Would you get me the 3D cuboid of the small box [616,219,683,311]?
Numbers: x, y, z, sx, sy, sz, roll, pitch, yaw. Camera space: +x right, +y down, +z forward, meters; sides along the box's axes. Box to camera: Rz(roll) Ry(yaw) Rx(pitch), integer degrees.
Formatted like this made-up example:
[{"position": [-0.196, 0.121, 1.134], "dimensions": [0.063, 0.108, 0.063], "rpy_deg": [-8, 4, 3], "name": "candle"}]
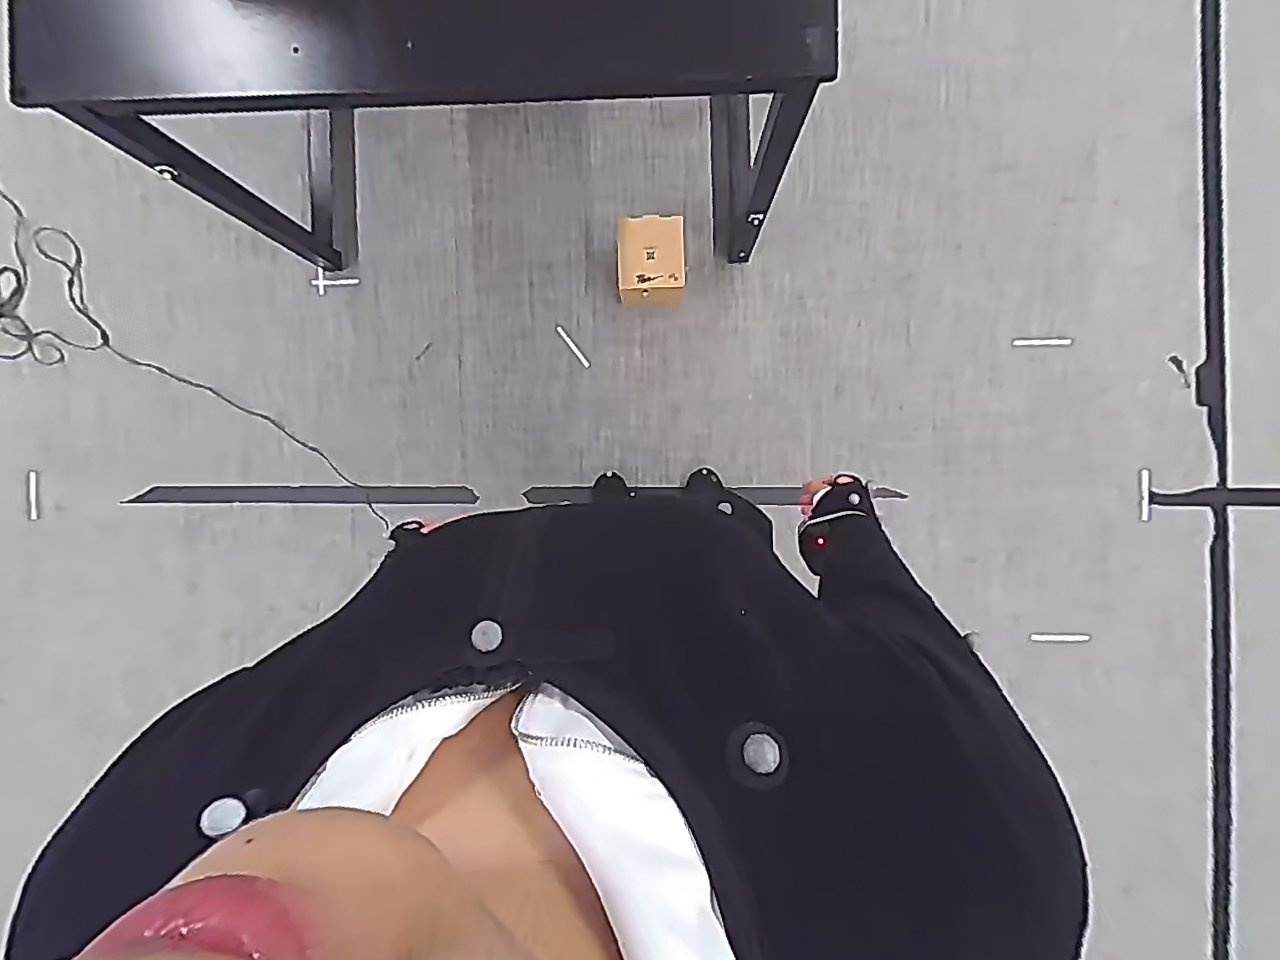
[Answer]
[{"position": [0.025, -0.556, 1.412], "dimensions": [0.168, 0.176, 0.179], "rpy_deg": [-1, 90, 3], "name": "small box"}]
